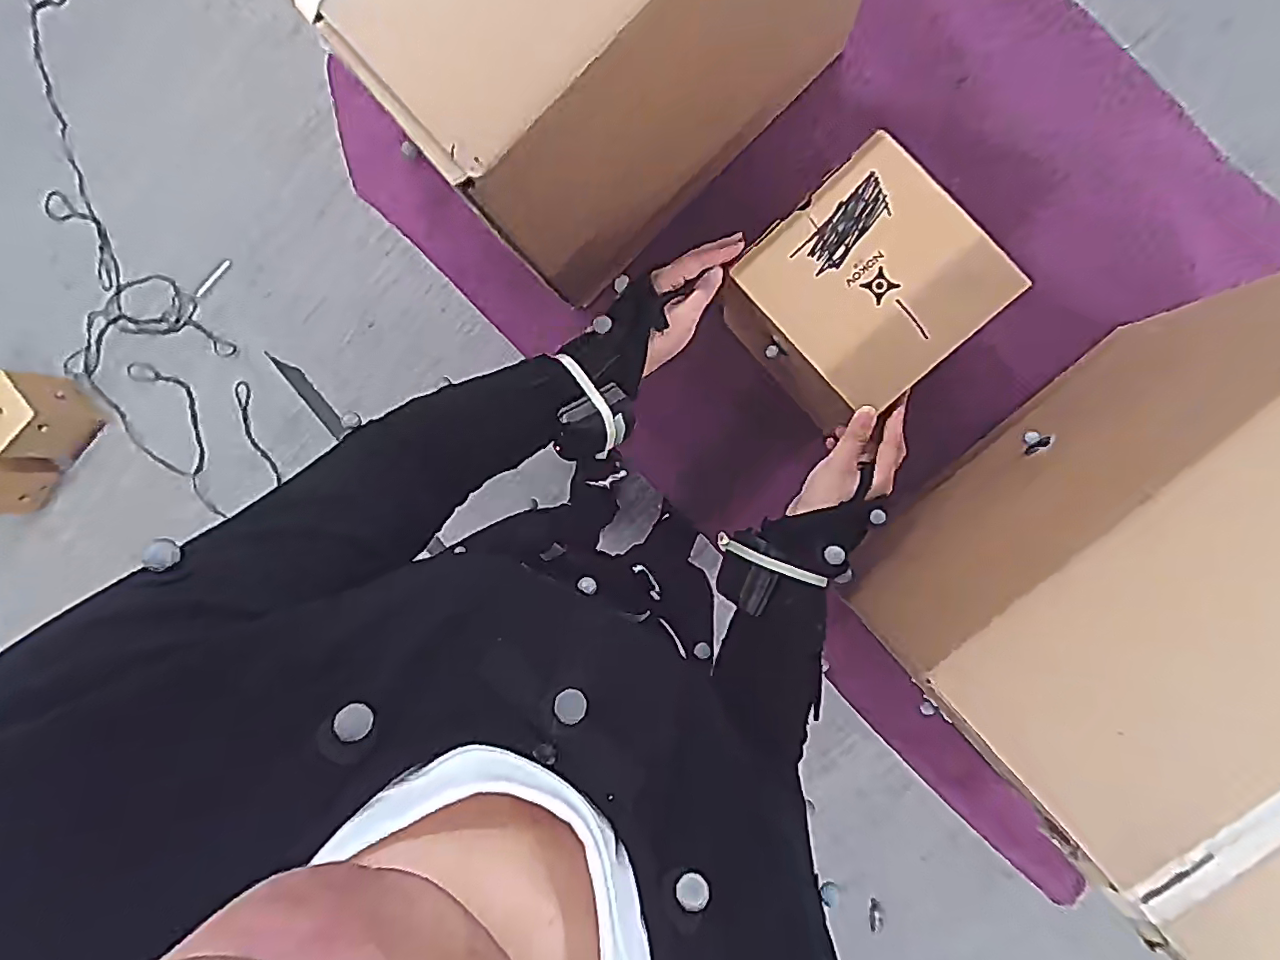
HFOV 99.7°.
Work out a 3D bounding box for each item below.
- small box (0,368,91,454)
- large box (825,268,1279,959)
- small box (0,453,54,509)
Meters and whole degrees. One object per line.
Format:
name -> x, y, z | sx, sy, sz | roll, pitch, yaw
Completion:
small box -> -1.703, -0.191, 1.509 | 0.179, 0.176, 0.168 | -40, 86, 8
large box -> 0.423, 0.089, 0.419 | 0.408, 0.320, 0.320 | -42, 87, 6
small box -> -1.863, -0.024, 1.543 | 0.179, 0.176, 0.168 | 42, 97, 4
